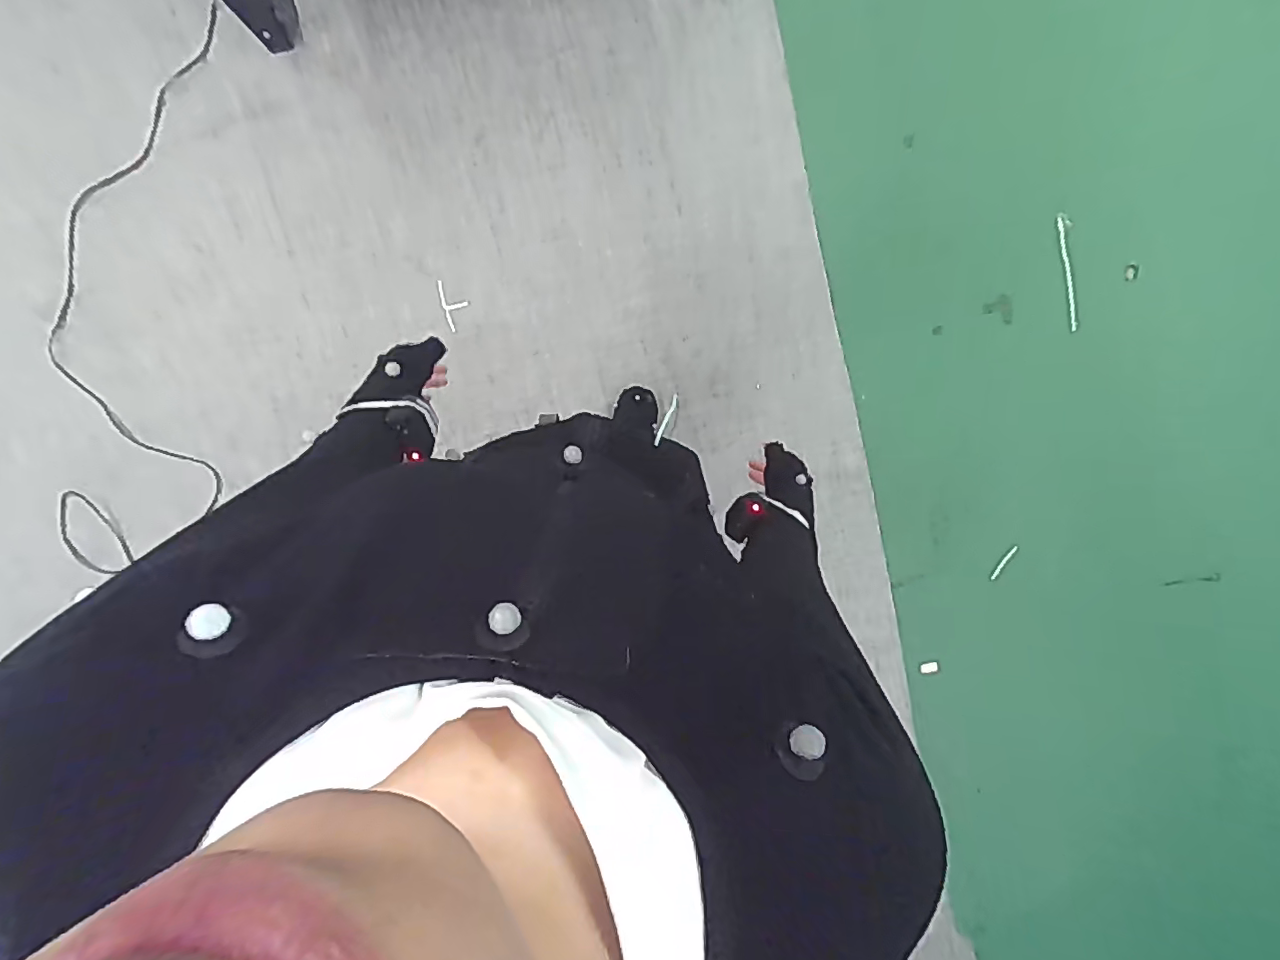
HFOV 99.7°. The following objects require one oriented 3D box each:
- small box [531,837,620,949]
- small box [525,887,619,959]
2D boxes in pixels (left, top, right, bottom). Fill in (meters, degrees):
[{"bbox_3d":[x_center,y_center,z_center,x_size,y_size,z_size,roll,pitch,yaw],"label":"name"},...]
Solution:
[{"bbox_3d":[-0.152,0.997,1.292,0.168,0.176,0.179,-16,98,-3],"label":"small box"},{"bbox_3d":[-0.141,1.008,1.145,0.168,0.176,0.179,-15,98,-2],"label":"small box"}]
